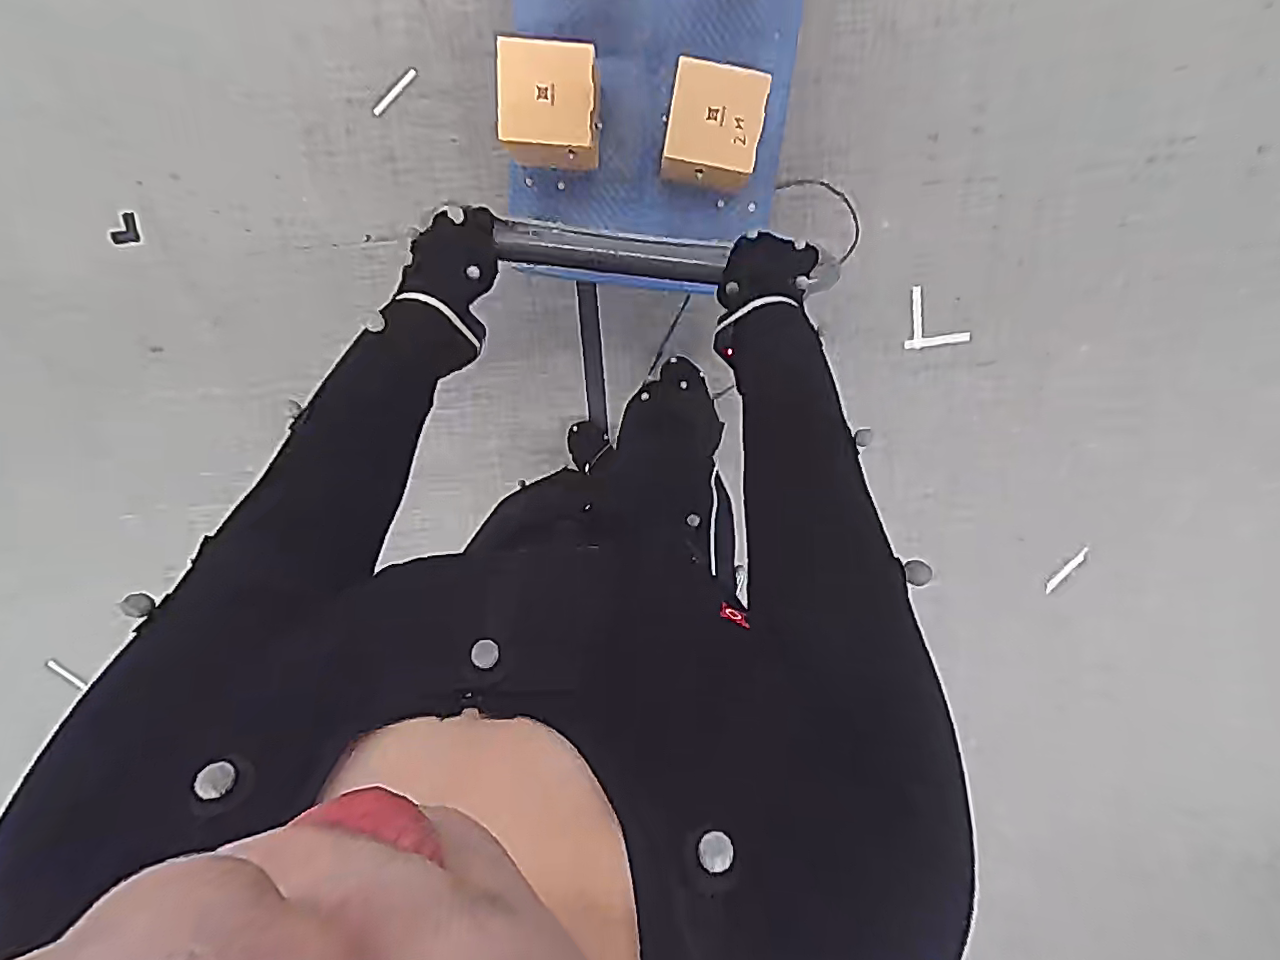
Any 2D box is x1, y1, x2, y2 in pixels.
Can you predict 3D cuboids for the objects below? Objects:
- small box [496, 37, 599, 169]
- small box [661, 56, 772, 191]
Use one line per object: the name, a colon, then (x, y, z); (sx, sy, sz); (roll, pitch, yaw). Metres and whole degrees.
small box: (-0.175, -0.726, 1.059); (0.179, 0.176, 0.168); (3, 106, -3)
small box: (0.140, -0.692, 1.070); (0.179, 0.176, 0.168); (10, 106, -3)
